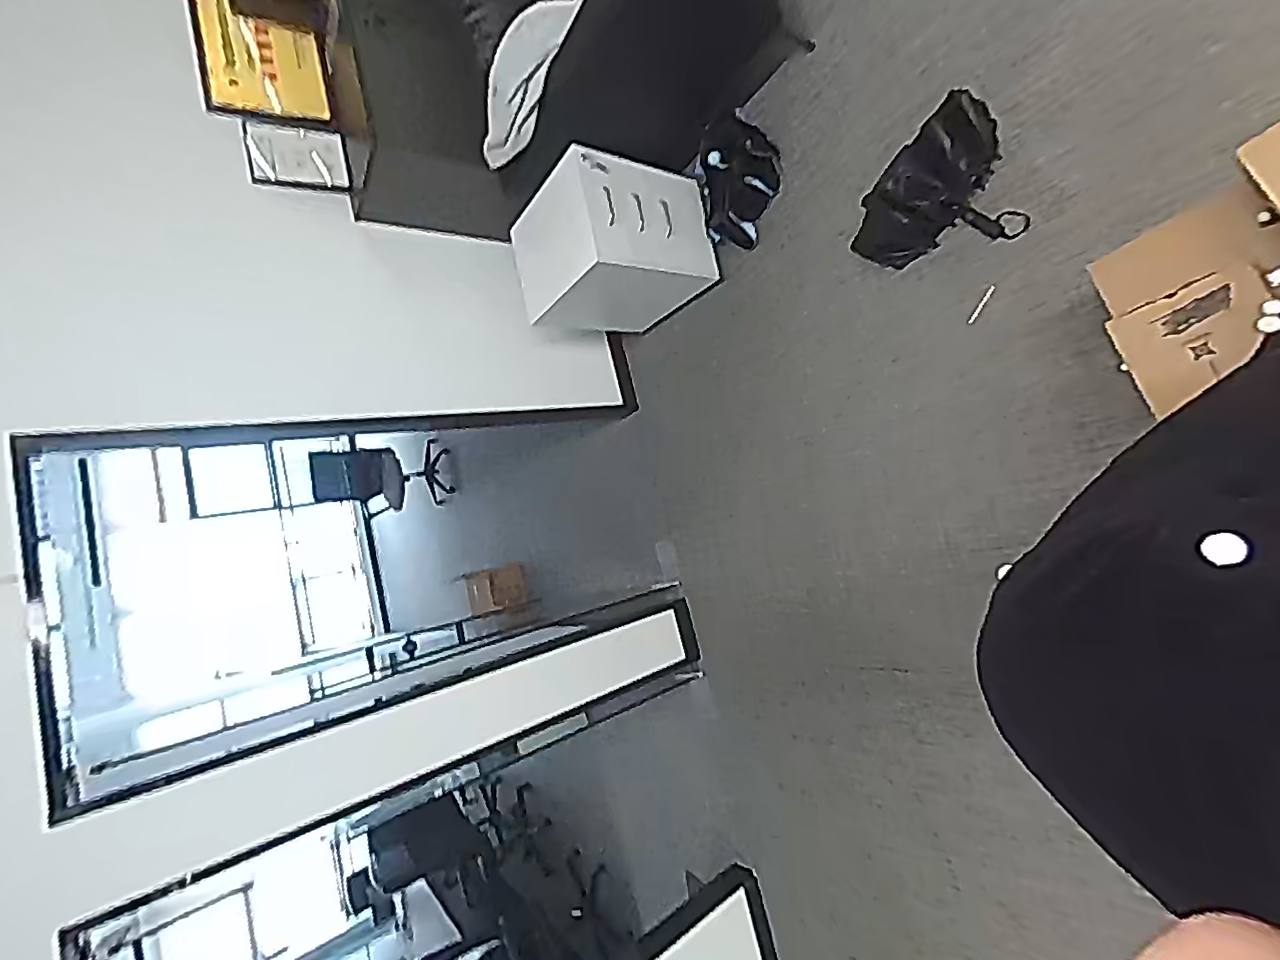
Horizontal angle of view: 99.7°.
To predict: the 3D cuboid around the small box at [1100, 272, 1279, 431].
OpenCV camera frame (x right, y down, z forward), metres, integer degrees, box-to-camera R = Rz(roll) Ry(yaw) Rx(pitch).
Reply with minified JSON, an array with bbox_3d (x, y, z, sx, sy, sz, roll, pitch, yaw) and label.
[{"bbox_3d":[0.863,-0.191,0.836,0.168,0.176,0.179,-32,74,51],"label":"small box"}]
